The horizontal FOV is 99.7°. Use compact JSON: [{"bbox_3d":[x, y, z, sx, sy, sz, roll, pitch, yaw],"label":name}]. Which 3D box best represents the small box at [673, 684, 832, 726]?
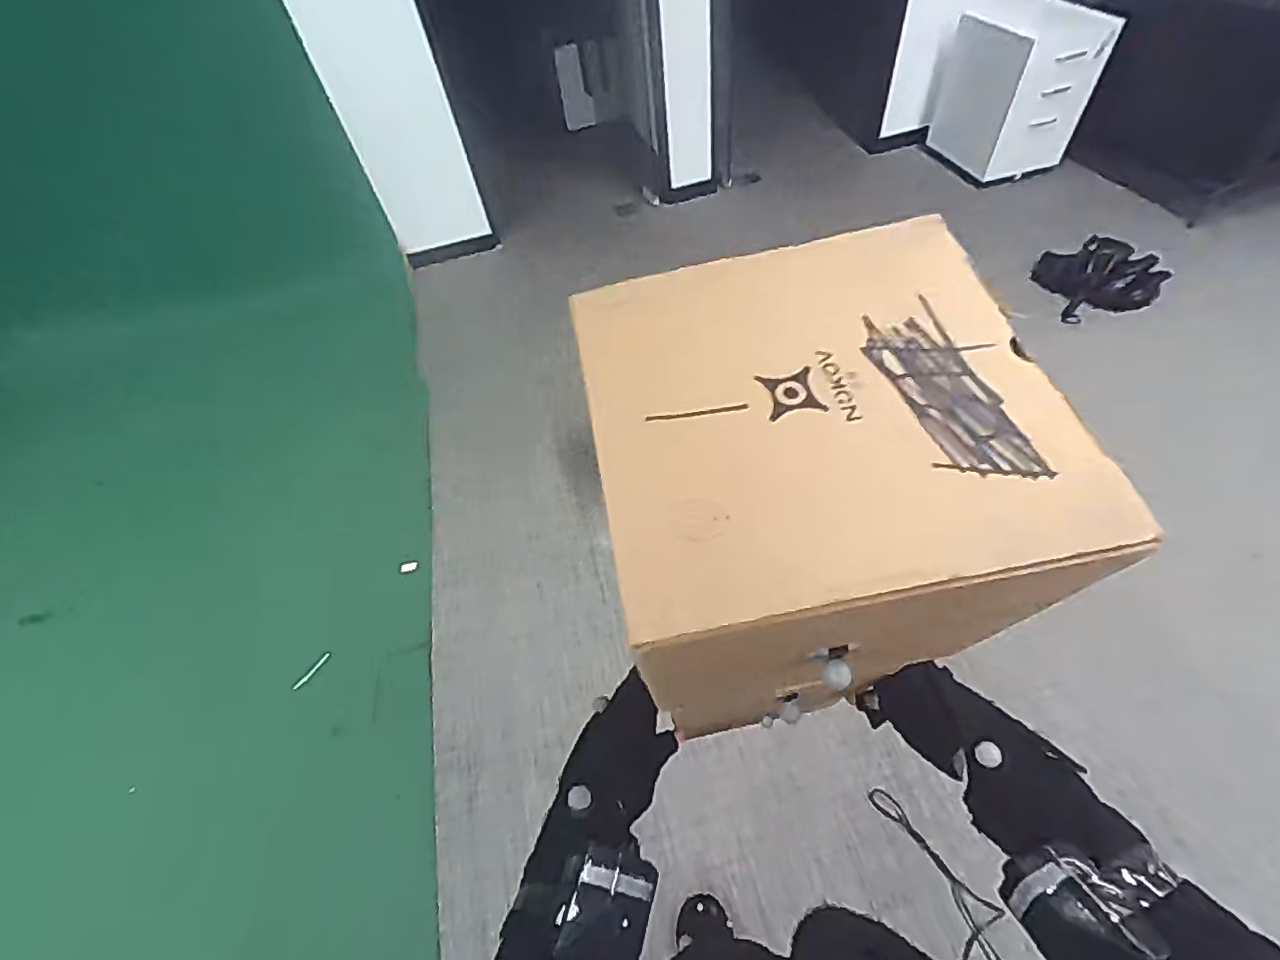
[{"bbox_3d":[0.108,0.157,0.586,0.179,0.176,0.168,-12,60,-2],"label":"small box"}]

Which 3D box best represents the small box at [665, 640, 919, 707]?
[{"bbox_3d":[0.090,0.078,0.443,0.168,0.176,0.179,-12,60,-1],"label":"small box"}]

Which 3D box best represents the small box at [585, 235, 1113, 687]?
[{"bbox_3d":[0.077,0.004,0.296,0.179,0.176,0.168,-11,60,1],"label":"small box"}]
